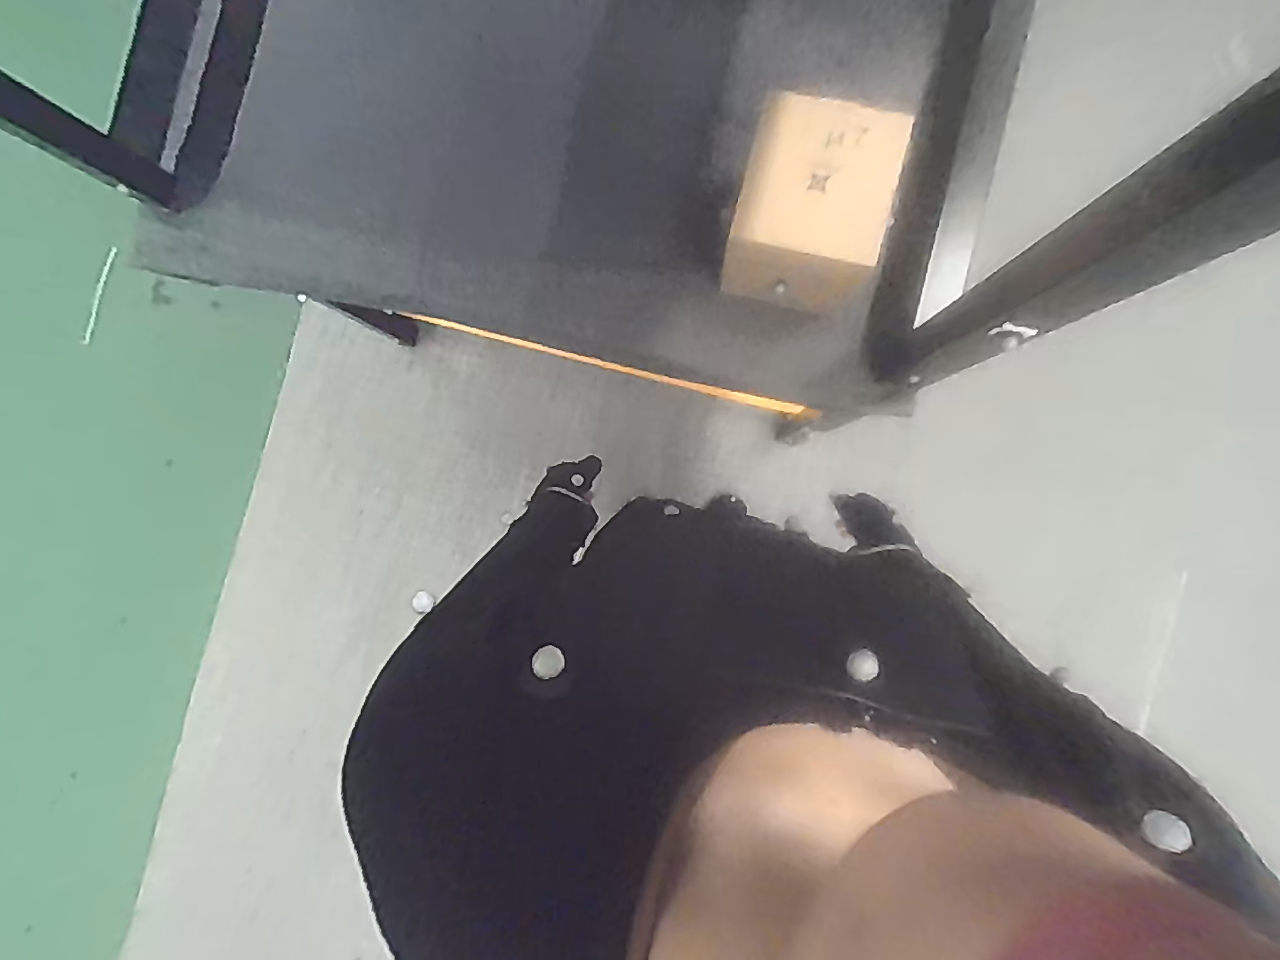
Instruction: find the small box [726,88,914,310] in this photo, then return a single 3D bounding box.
[{"bbox_3d":[0.209,-0.335,0.679,0.168,0.176,0.179,15,89,5],"label":"small box"}]
